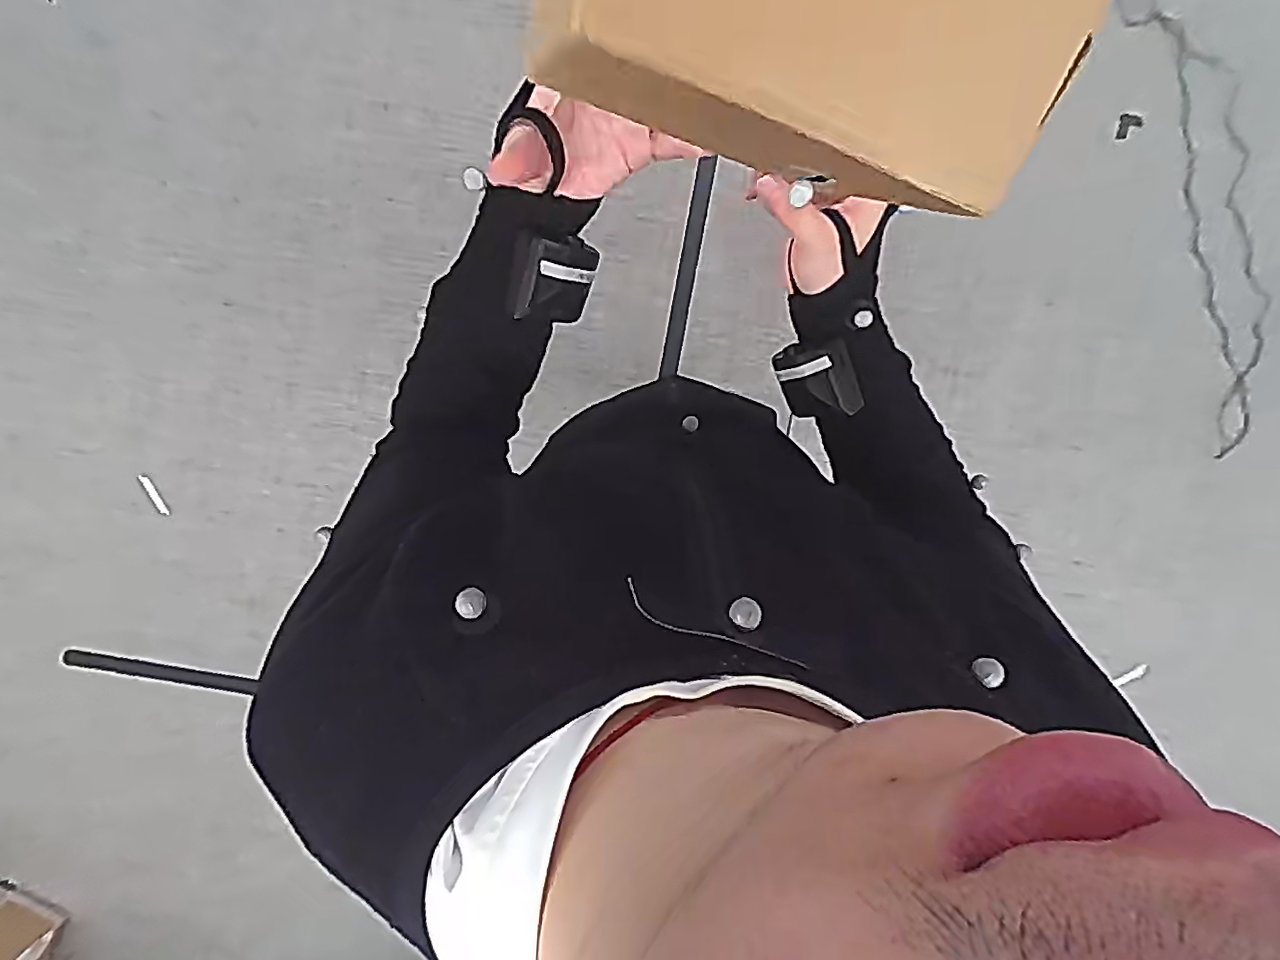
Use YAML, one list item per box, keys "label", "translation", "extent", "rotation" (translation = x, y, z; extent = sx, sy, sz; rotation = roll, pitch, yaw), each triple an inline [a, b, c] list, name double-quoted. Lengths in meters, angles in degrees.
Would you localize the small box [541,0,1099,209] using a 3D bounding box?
- label: "small box"
  translation: [0.066, -0.231, 0.221]
  extent: [0.179, 0.176, 0.168]
  rotation: [6, 119, -20]
